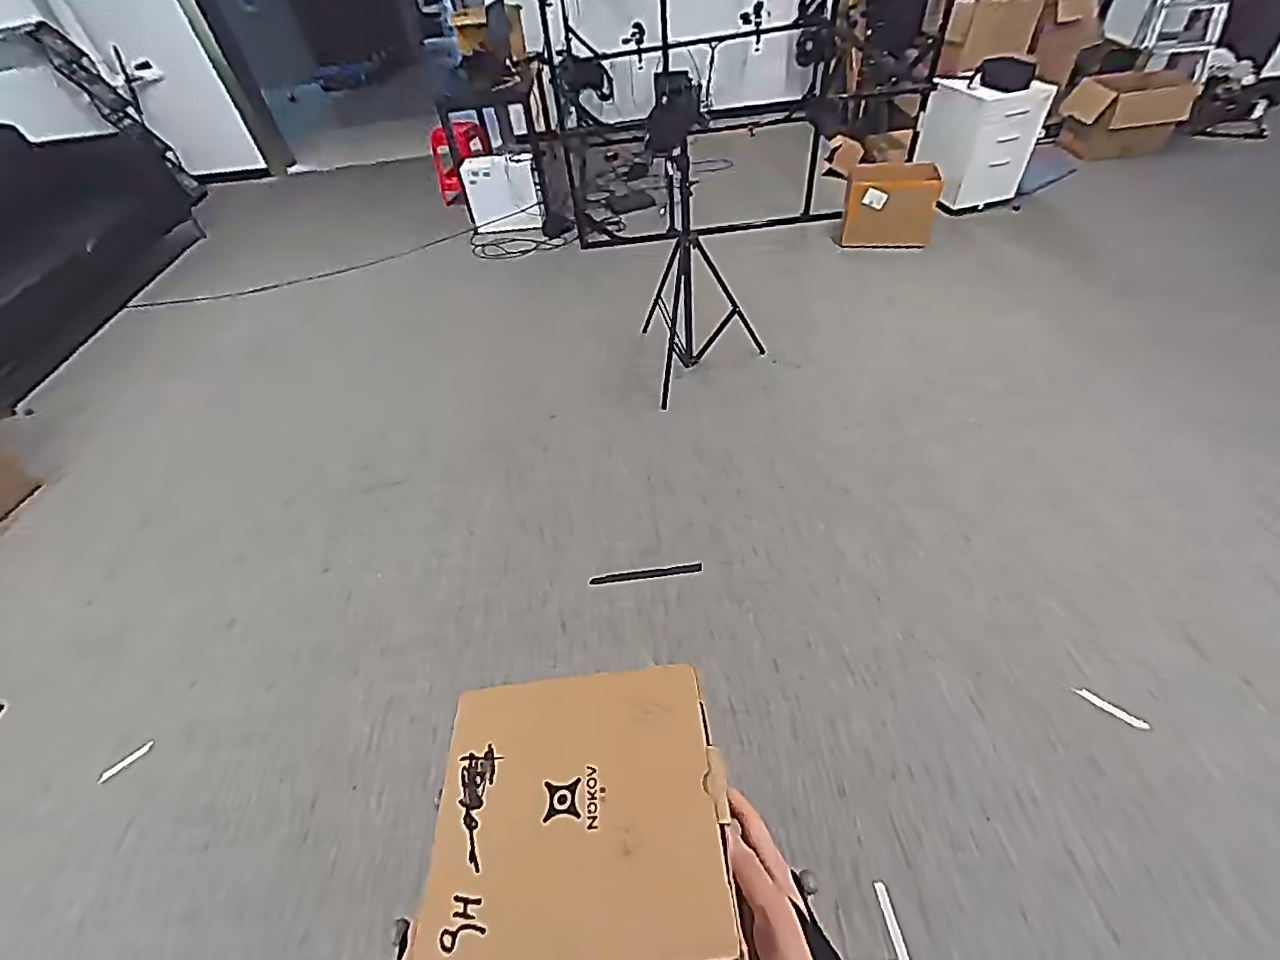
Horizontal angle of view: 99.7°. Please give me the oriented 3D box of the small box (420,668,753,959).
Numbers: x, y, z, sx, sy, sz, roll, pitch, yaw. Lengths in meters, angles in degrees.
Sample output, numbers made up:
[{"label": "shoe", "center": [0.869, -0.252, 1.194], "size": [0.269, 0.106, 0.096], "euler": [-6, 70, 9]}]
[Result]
[{"label": "small box", "center": [-0.028, 0.259, 0.385], "size": [0.179, 0.176, 0.168], "euler": [-7, 40, 0]}]
